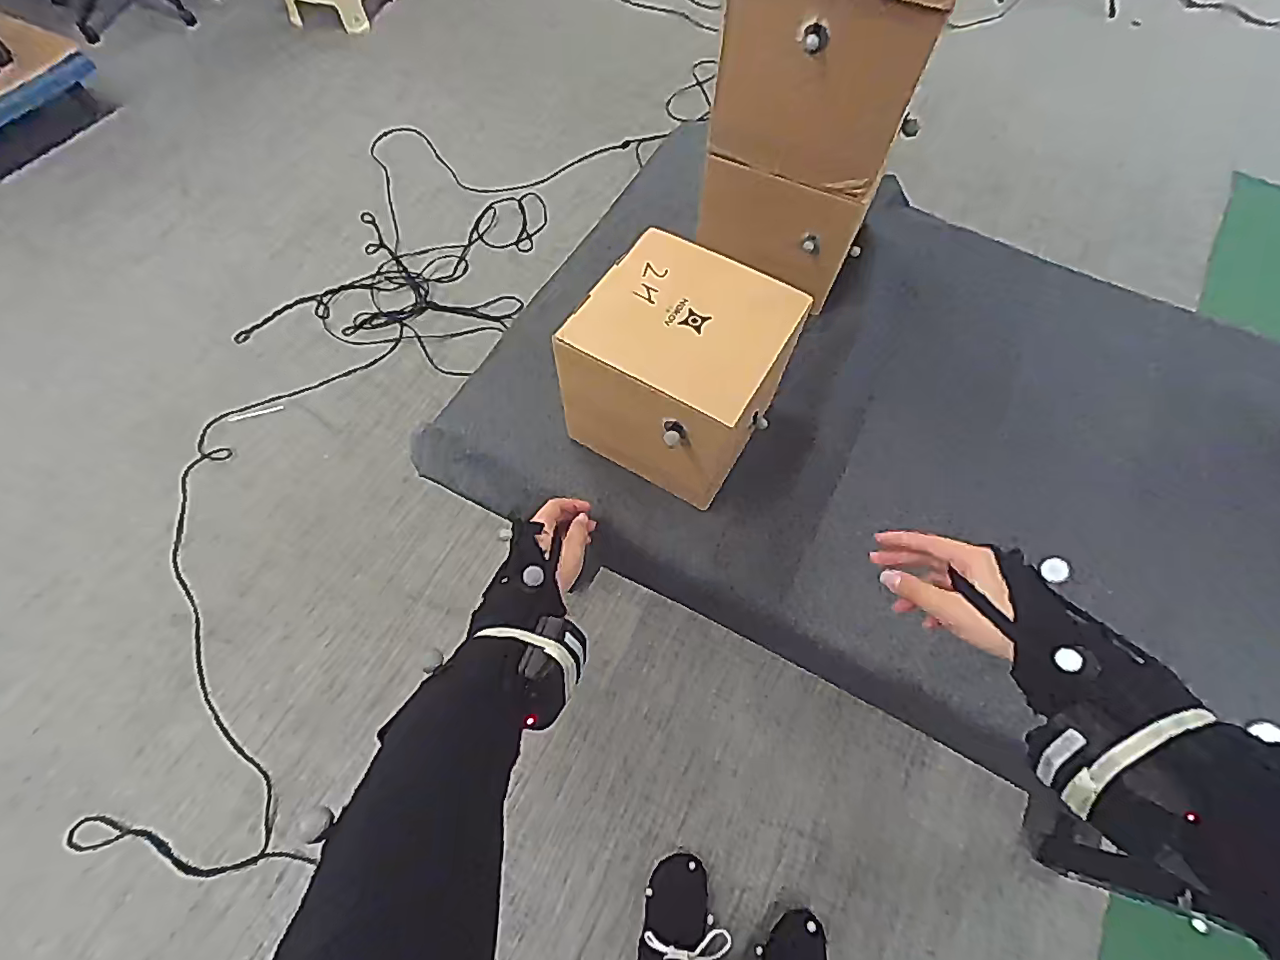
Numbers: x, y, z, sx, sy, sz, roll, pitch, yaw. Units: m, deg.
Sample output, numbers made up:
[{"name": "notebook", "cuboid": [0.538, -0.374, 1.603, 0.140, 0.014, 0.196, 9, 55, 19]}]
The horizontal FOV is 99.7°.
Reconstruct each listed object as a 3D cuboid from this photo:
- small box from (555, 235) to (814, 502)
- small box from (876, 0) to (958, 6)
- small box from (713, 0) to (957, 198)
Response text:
[{"name": "small box", "cuboid": [0.040, -0.100, 0.544, 0.179, 0.176, 0.168, 29, 66, 13]}, {"name": "small box", "cuboid": [0.180, -0.462, 0.356, 0.179, 0.176, 0.168, 25, 70, 10]}, {"name": "small box", "cuboid": [0.182, -0.404, 0.510, 0.179, 0.176, 0.168, 24, 70, 9]}]
